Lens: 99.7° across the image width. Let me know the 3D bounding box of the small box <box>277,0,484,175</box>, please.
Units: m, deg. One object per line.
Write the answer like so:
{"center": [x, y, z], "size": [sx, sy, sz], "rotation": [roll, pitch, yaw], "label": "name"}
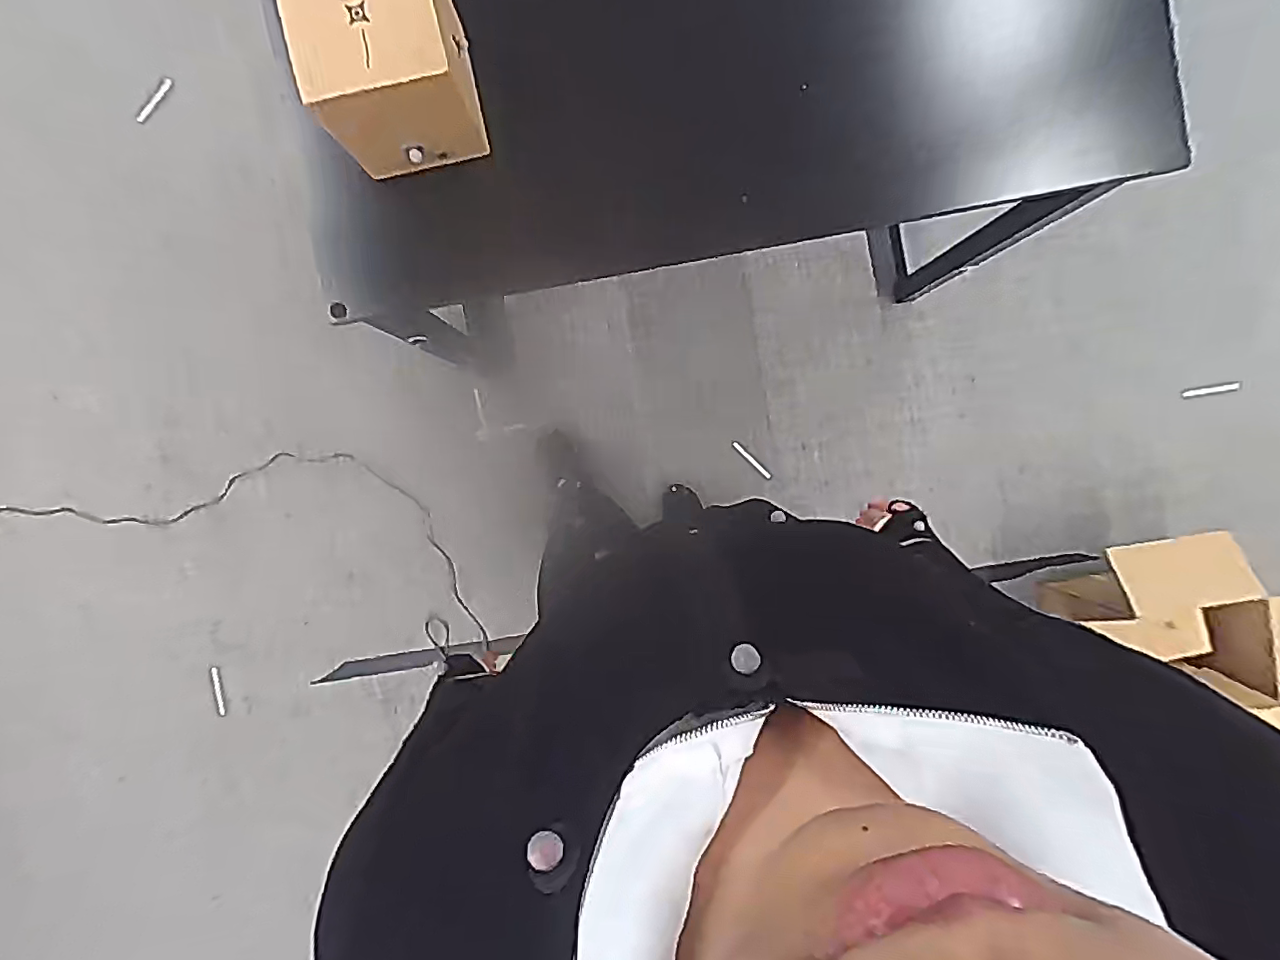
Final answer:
{"center": [-0.307, -0.513, 0.660], "size": [0.168, 0.176, 0.179], "rotation": [-12, 94, 0], "label": "small box"}
